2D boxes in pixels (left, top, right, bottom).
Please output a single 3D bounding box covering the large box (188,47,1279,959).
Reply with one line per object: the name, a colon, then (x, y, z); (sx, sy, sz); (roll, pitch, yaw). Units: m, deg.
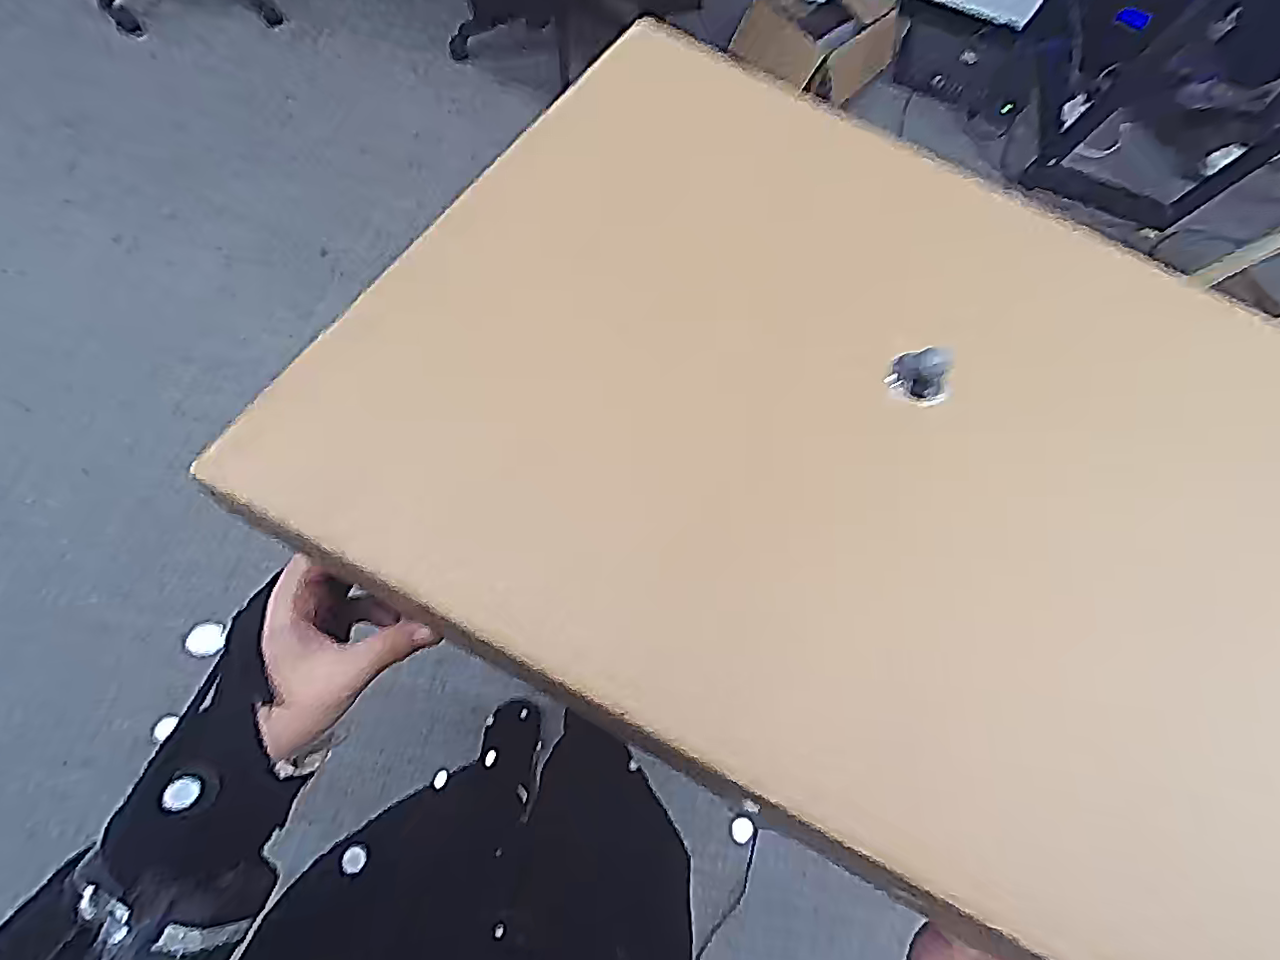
large box: (0.073, 0.022, 0.353); (0.408, 0.320, 0.320); (26, 67, 4)
